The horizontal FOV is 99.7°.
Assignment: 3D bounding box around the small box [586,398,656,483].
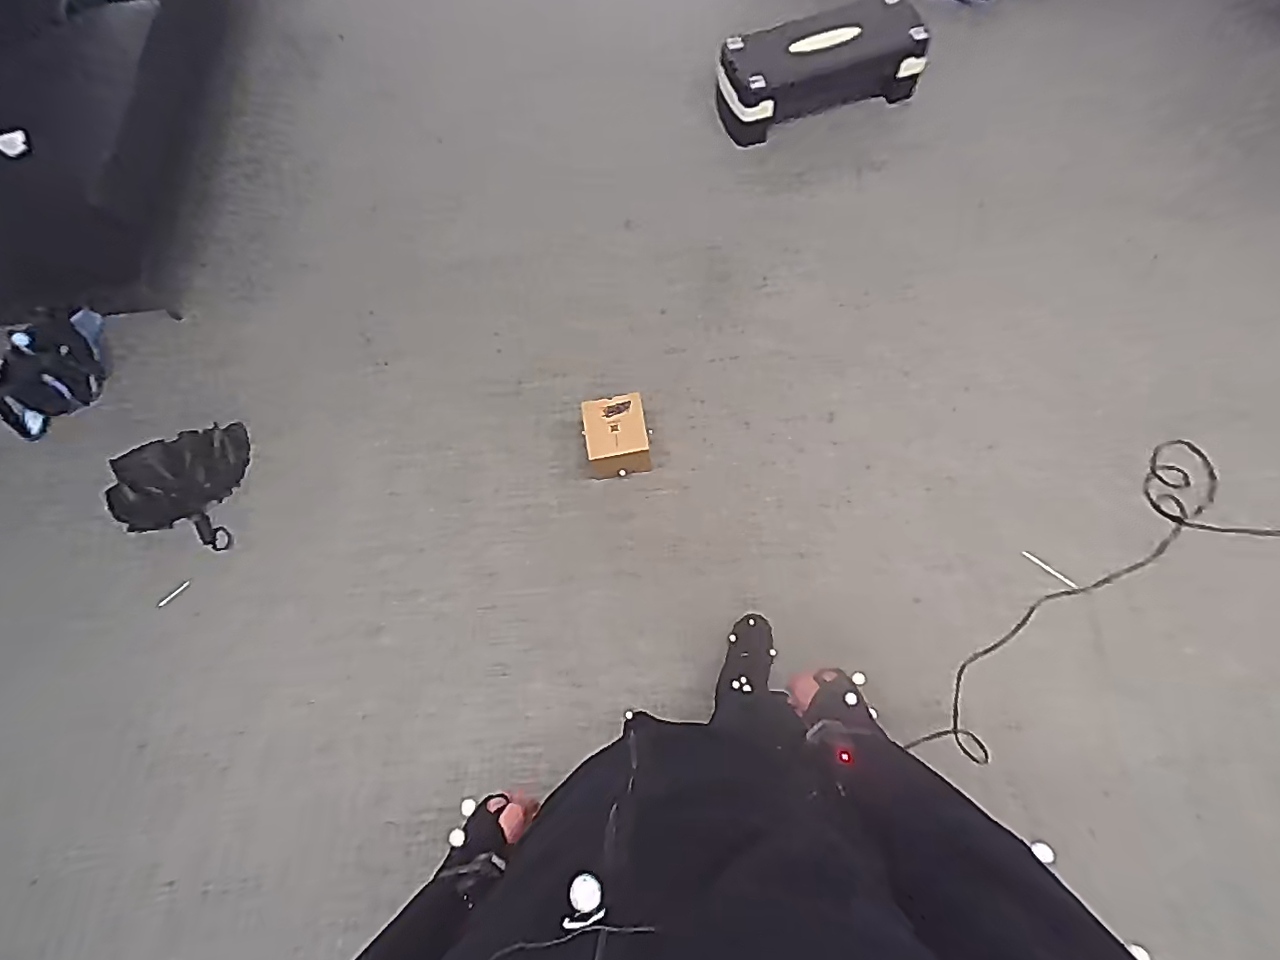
[{"bbox_3d":[-0.051,-0.108,1.528,0.168,0.176,0.179,-10,71,2],"label":"small box"}]
